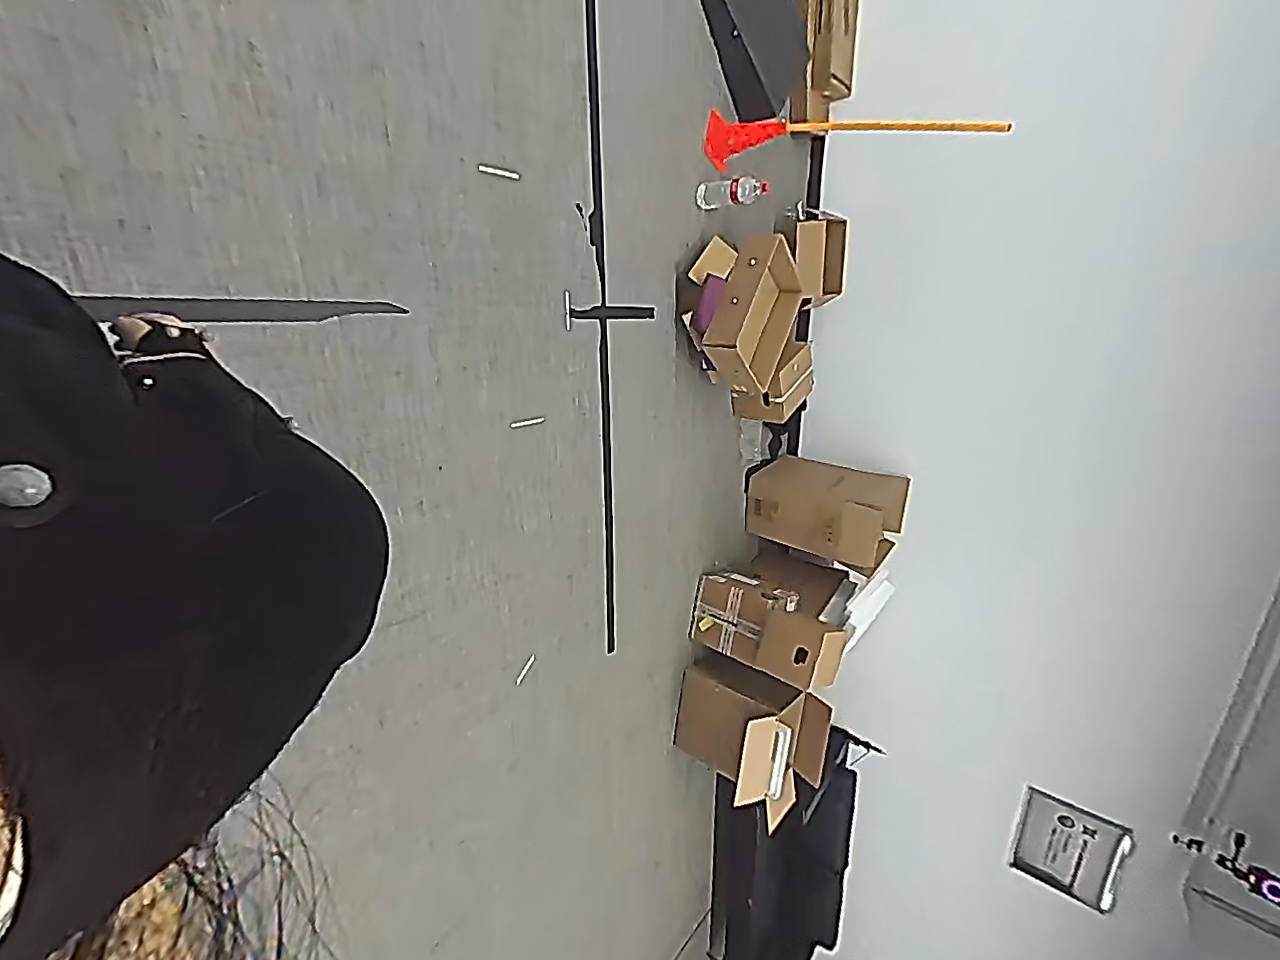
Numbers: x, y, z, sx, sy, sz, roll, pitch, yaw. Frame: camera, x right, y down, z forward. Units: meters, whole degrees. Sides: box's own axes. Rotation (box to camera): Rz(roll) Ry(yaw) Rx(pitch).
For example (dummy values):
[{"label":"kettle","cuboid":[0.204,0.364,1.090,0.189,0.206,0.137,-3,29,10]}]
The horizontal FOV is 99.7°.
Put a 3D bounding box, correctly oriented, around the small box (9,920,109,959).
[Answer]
[{"label":"small box","cuboid":[-1.236,1.084,1.135,0.168,0.176,0.179,-24,120,-47]}]
